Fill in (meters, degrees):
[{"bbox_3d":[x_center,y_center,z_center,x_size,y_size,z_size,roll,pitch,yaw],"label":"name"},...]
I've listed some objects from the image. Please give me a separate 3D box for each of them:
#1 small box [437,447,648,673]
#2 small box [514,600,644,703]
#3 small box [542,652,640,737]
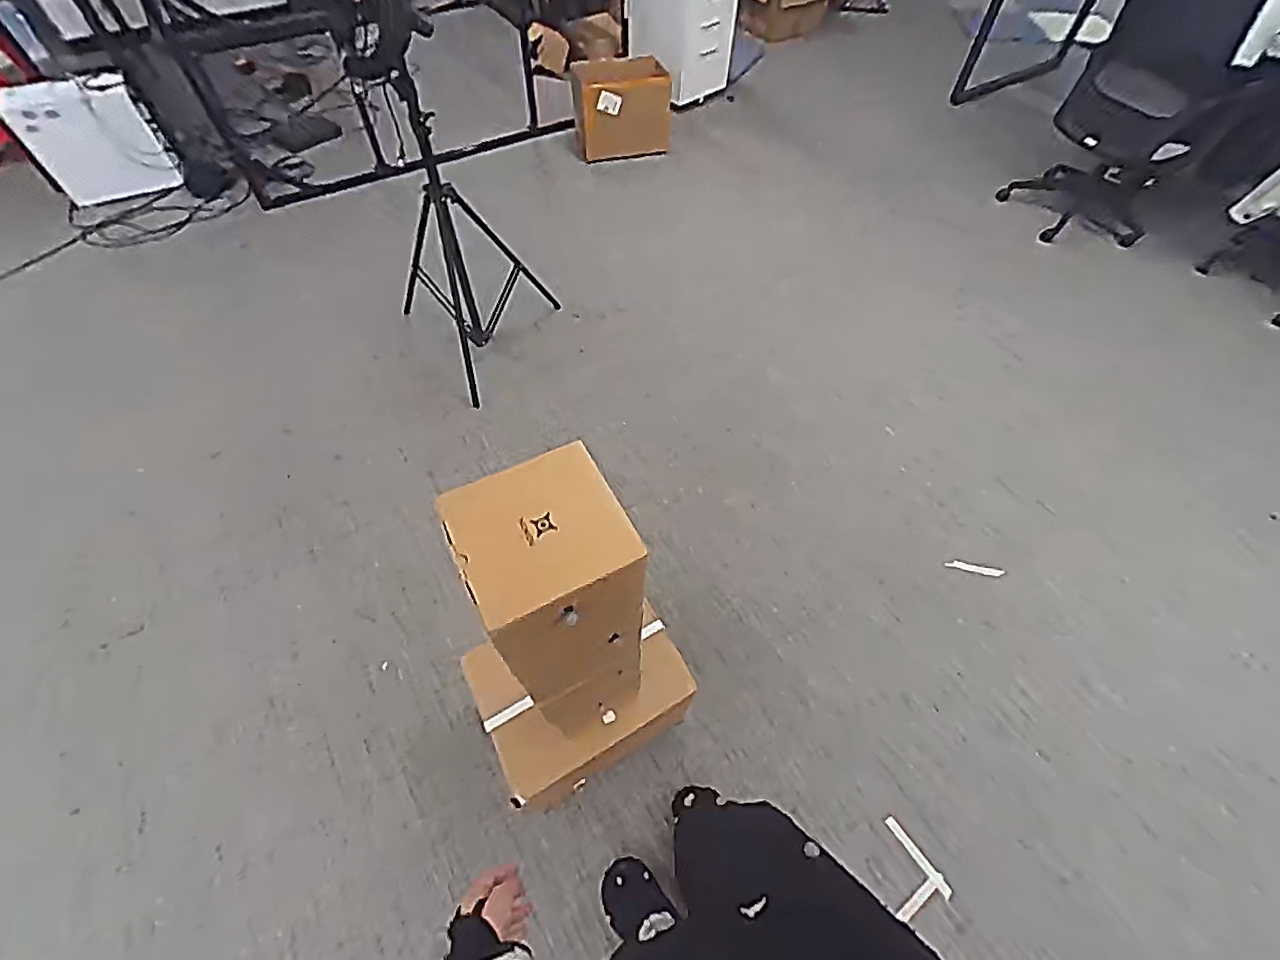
[{"bbox_3d":[-0.108,0.097,0.631,0.179,0.176,0.168,-25,61,-16],"label":"small box"},{"bbox_3d":[-0.111,0.187,0.766,0.179,0.176,0.168,-25,61,-17],"label":"small box"},{"bbox_3d":[-0.115,0.368,1.041,0.179,0.176,0.168,-28,62,-19],"label":"small box"}]
